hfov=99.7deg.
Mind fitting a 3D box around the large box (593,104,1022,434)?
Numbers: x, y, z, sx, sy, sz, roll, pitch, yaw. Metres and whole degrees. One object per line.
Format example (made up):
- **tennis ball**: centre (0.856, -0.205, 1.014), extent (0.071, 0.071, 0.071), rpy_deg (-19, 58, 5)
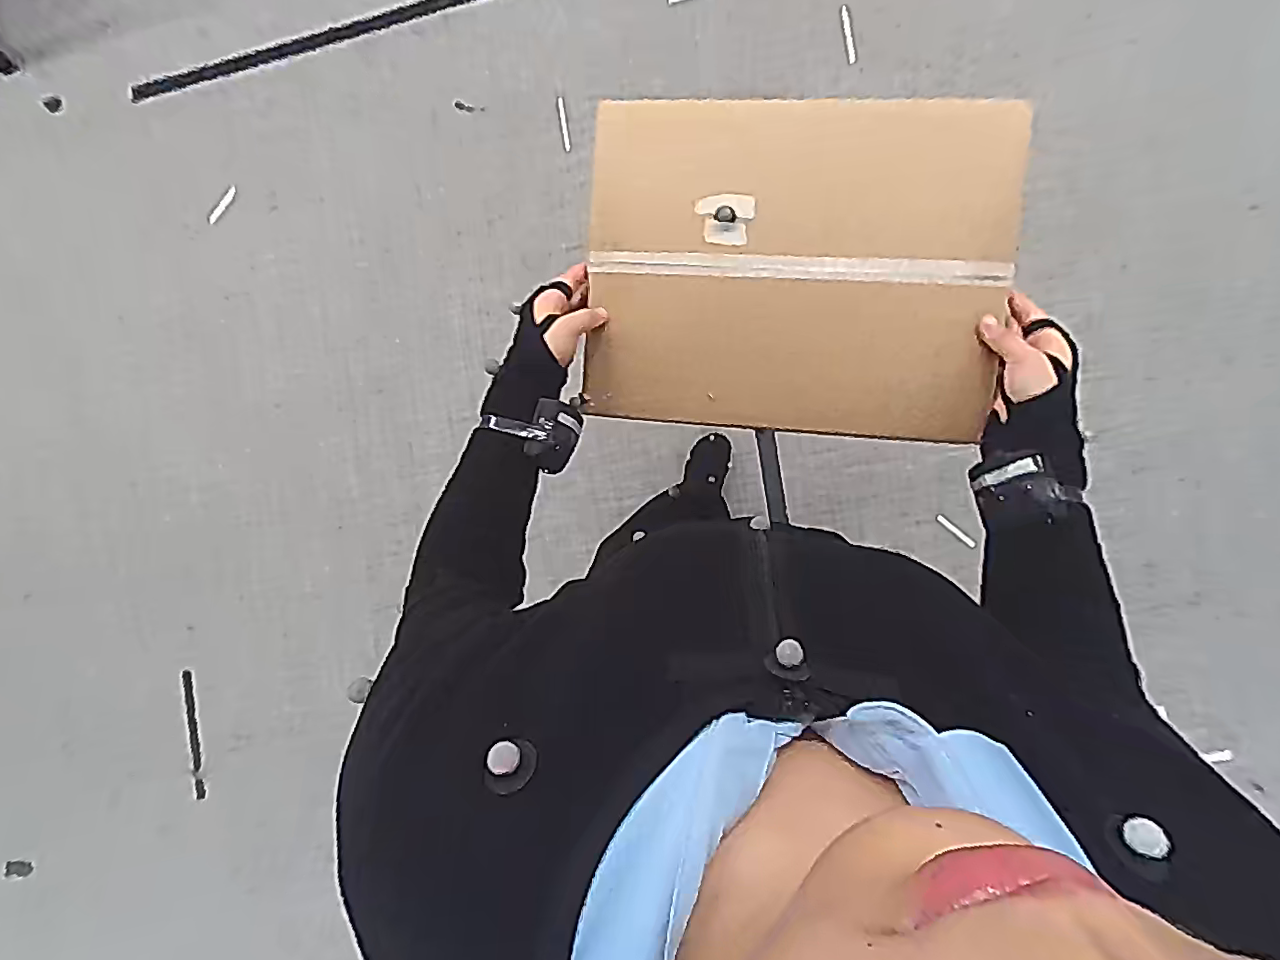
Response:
- **large box**: centre (0.177, -0.228, 0.693), extent (0.408, 0.320, 0.320), rpy_deg (5, 96, 8)
